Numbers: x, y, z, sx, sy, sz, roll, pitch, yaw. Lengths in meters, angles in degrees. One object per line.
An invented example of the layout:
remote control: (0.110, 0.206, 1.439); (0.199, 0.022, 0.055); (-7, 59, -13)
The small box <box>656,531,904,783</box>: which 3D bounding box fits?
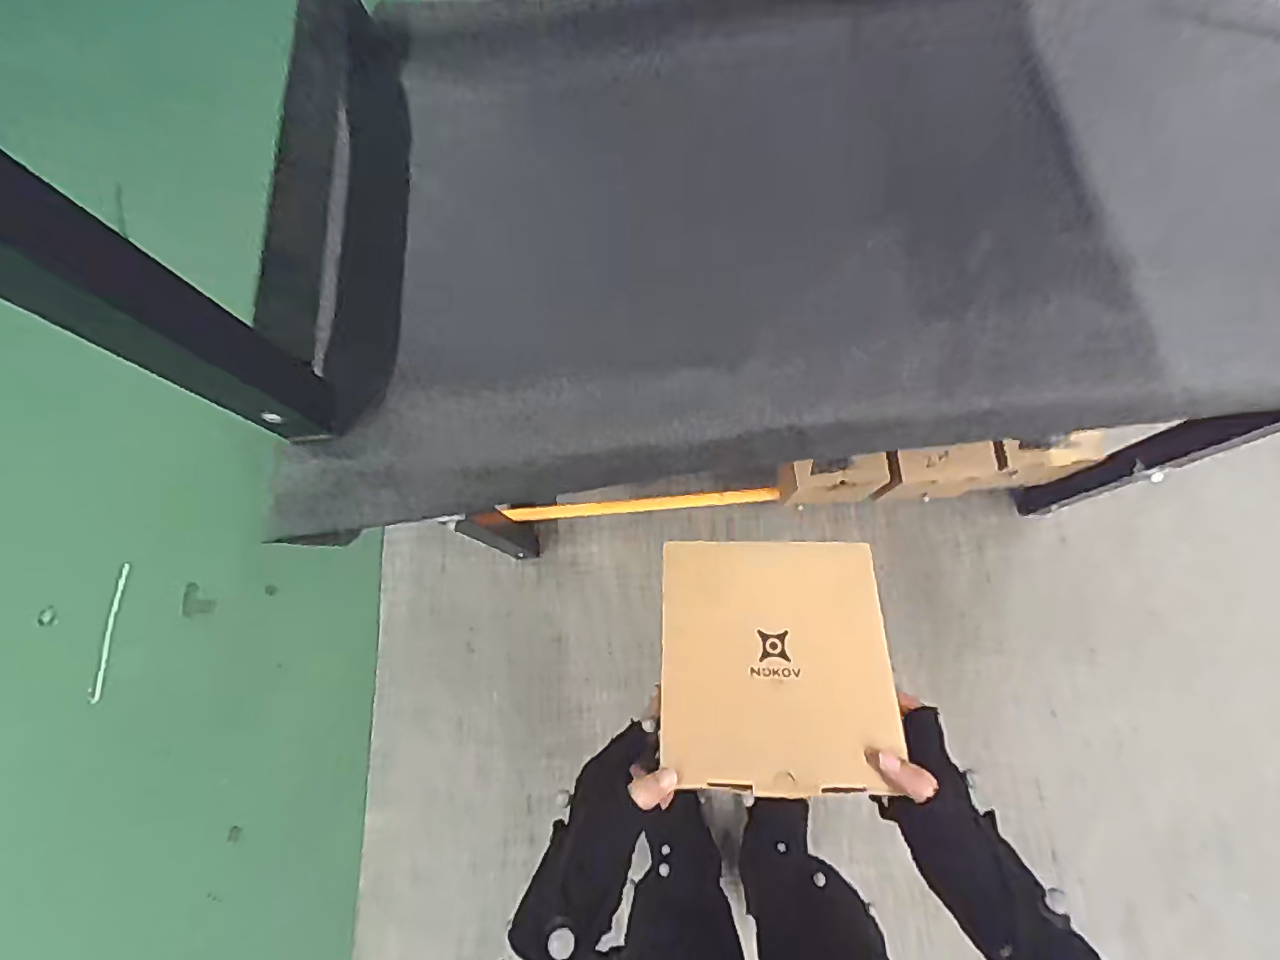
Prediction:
small box: (0.099, 0.157, 0.467); (0.168, 0.176, 0.179); (0, 61, 4)
